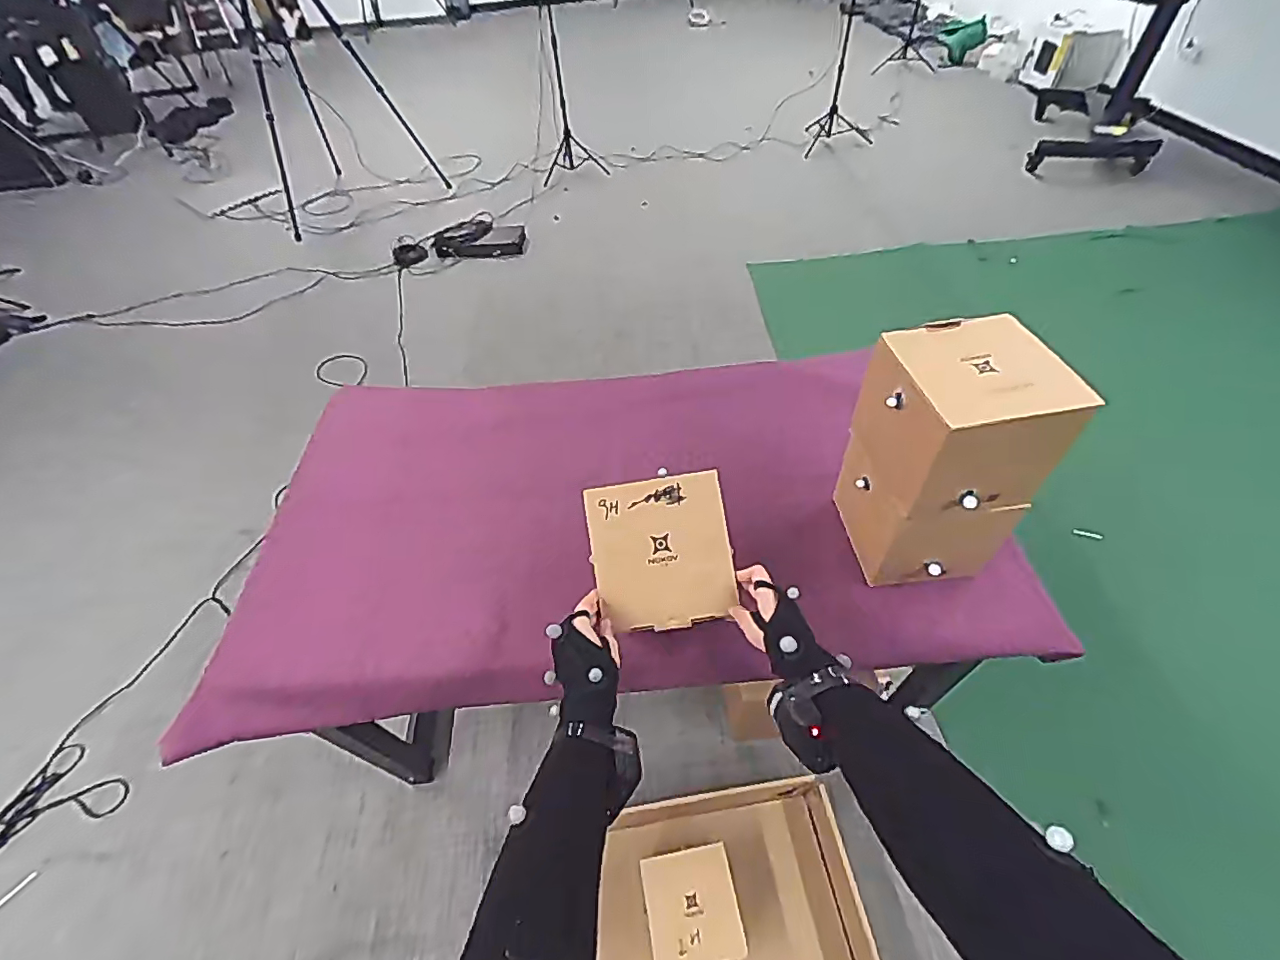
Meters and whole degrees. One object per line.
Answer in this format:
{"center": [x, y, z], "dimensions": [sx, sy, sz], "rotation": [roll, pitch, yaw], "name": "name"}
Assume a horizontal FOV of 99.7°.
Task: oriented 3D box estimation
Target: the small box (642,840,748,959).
{"center": [0.098, 0.817, 1.038], "dimensions": [0.168, 0.176, 0.179], "rotation": [-10, 51, -3], "name": "small box"}

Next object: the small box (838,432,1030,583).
{"center": [0.405, 0.028, 0.789], "dimensions": [0.168, 0.176, 0.179], "rotation": [-6, 49, 1], "name": "small box"}

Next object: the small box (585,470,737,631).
{"center": [0.027, 0.090, 0.724], "dimensions": [0.168, 0.176, 0.179], "rotation": [-8, 84, 0], "name": "small box"}

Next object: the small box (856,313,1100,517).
{"center": [0.389, -0.079, 0.667], "dimensions": [0.168, 0.176, 0.179], "rotation": [-9, 49, -1], "name": "small box"}
